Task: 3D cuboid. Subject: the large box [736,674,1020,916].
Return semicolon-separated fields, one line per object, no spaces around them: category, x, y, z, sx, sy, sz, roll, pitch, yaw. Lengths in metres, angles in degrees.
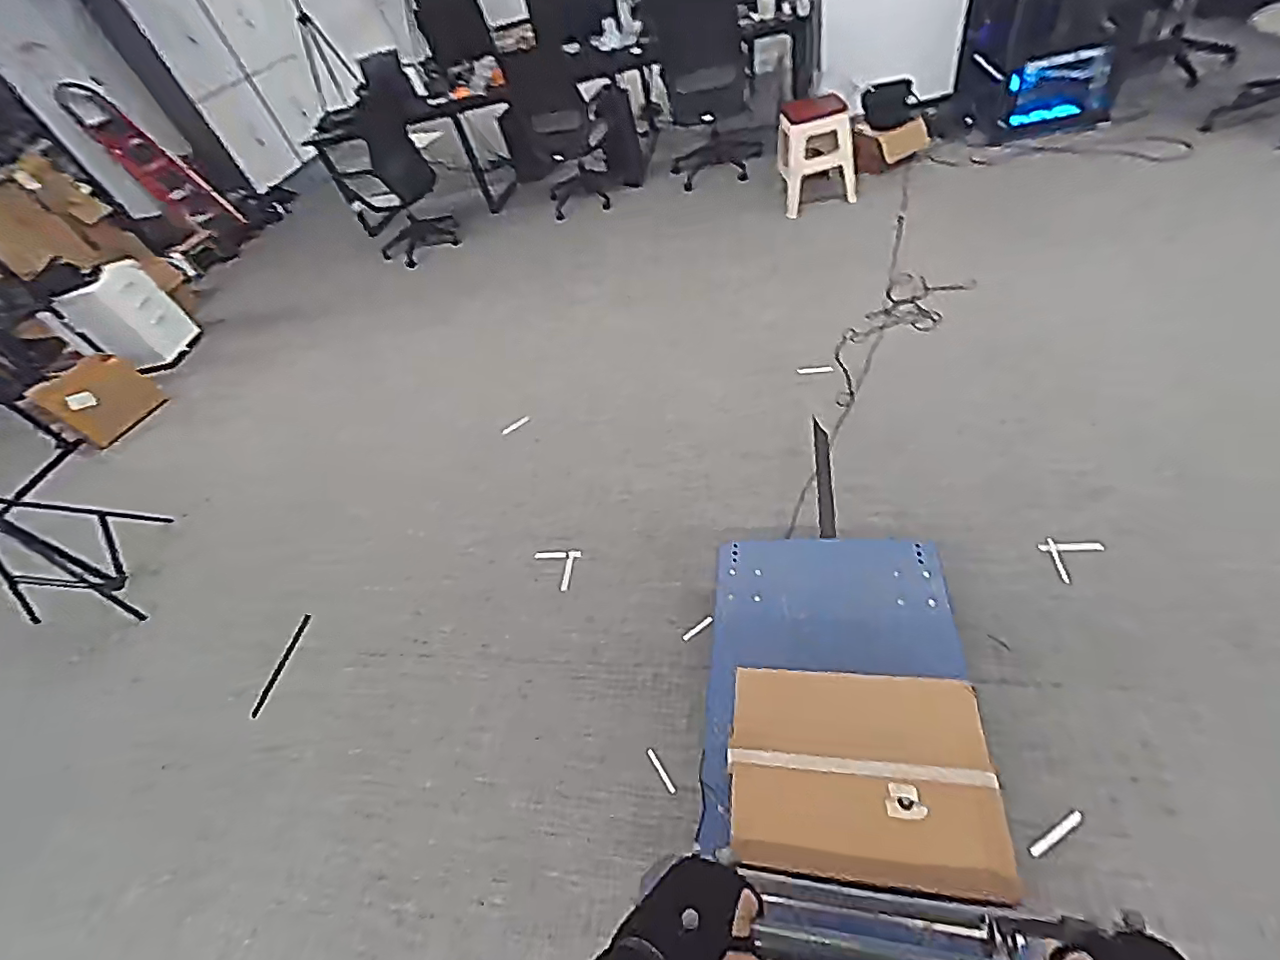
large box;0.394;0.581;1.008;0.408;0.320;0.320;-2;50;15
